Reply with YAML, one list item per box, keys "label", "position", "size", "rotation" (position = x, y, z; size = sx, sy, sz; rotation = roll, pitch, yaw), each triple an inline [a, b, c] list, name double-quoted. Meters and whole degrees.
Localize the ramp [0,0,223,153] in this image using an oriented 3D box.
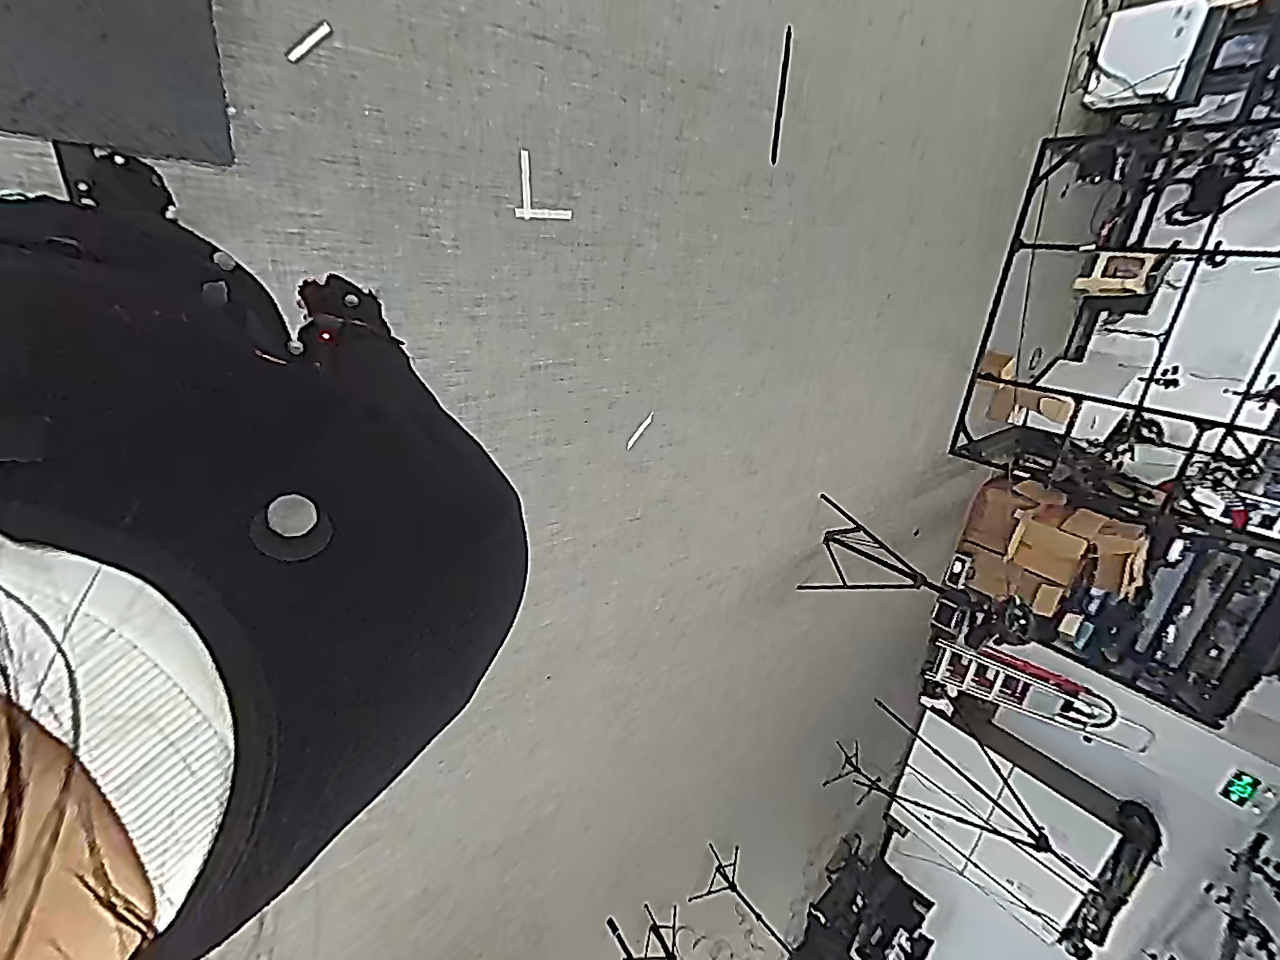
- label: "ramp"
  position: [-0.884, -1.006, 0.652]
  size: [0.509, 0.206, 0.991]
  rotation: [-15, 120, -38]
